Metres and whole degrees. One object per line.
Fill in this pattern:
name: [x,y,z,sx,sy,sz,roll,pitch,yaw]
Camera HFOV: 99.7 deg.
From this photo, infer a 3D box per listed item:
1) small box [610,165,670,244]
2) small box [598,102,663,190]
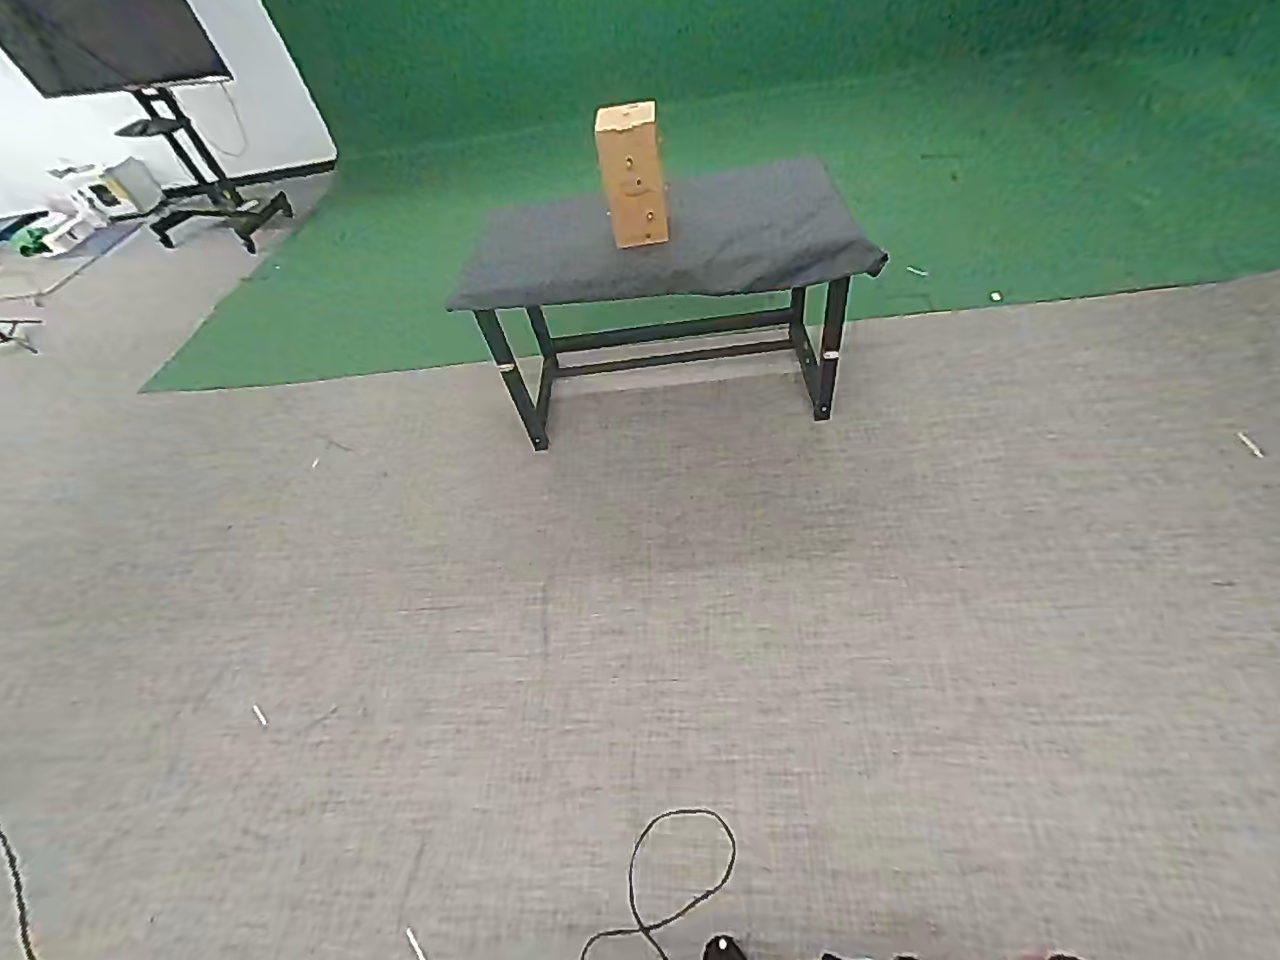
small box: [0.005,-0.853,1.688,0.168,0.176,0.179,-5,49,5]
small box: [-0.021,-0.960,1.566,0.168,0.176,0.179,-3,52,6]
